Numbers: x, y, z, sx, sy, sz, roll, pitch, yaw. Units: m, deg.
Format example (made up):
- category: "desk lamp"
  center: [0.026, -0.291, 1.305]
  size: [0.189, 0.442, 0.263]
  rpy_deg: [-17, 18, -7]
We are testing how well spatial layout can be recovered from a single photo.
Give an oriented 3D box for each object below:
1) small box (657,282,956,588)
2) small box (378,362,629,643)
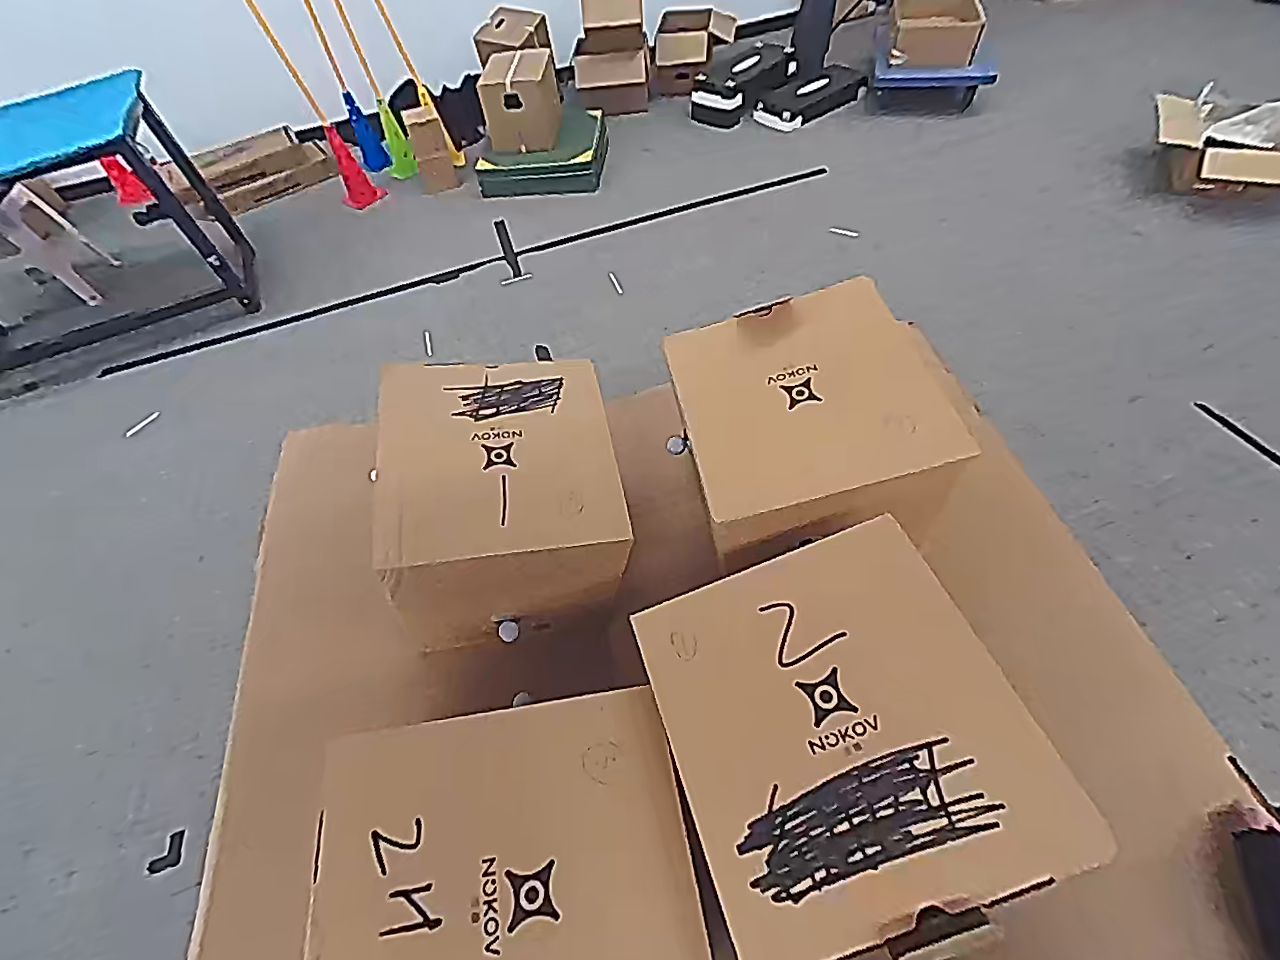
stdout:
- category: "small box"
  center: [0.124, -0.024, 0.453]
  size: [0.168, 0.176, 0.179]
  rpy_deg: [-16, 55, 5]
- category: "small box"
  center: [-0.114, 0.020, 0.467]
  size: [0.168, 0.176, 0.179]
  rpy_deg: [-5, 57, -14]
